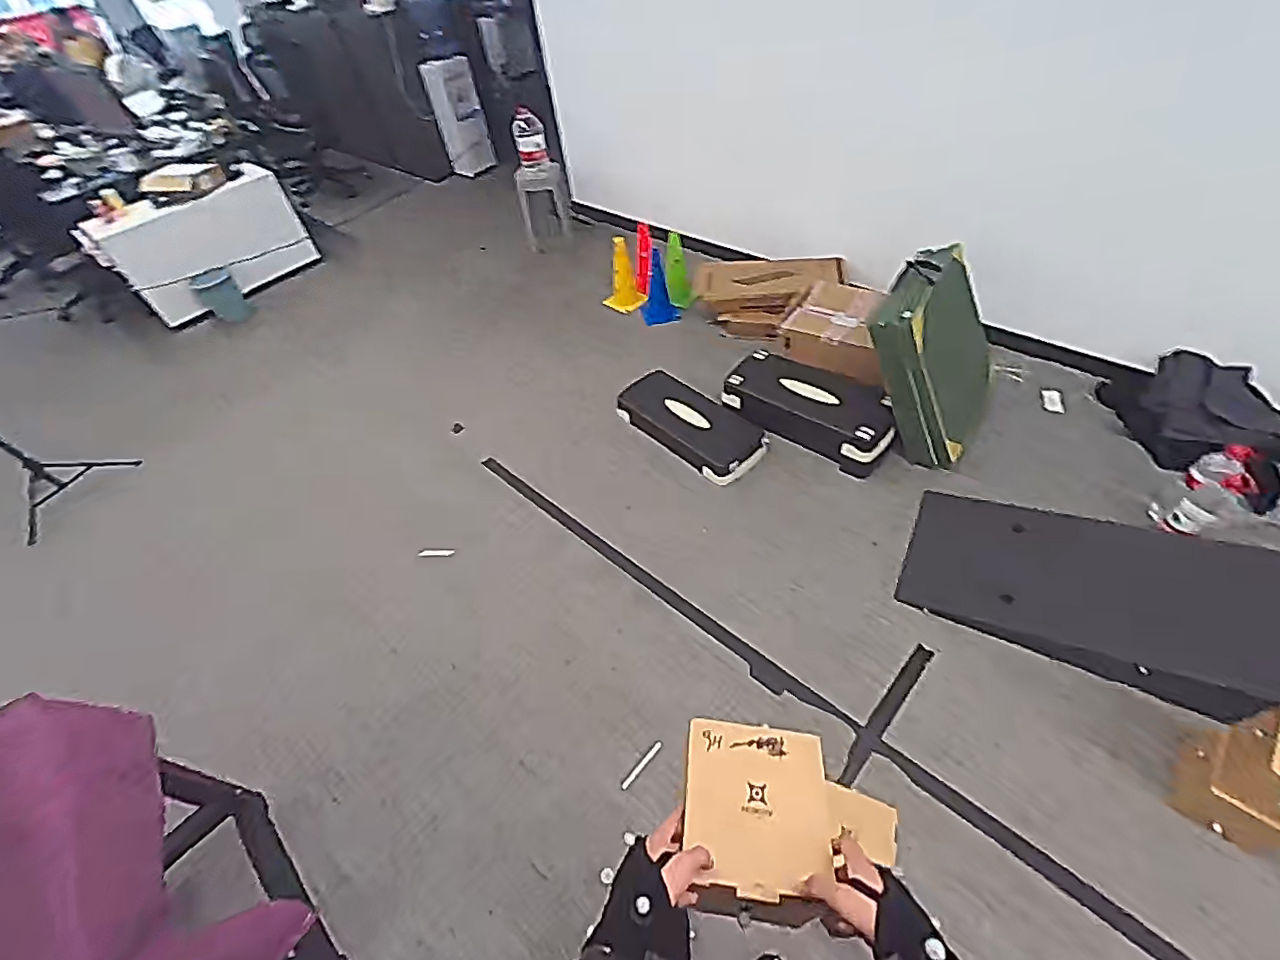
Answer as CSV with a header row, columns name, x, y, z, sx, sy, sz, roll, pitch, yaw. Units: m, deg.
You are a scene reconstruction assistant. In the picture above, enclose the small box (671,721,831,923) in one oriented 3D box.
name,x,y,z,sx,sy,sz,roll,pitch,yaw
small box,0.130,0.435,0.686,0.168,0.176,0.179,6,45,4
